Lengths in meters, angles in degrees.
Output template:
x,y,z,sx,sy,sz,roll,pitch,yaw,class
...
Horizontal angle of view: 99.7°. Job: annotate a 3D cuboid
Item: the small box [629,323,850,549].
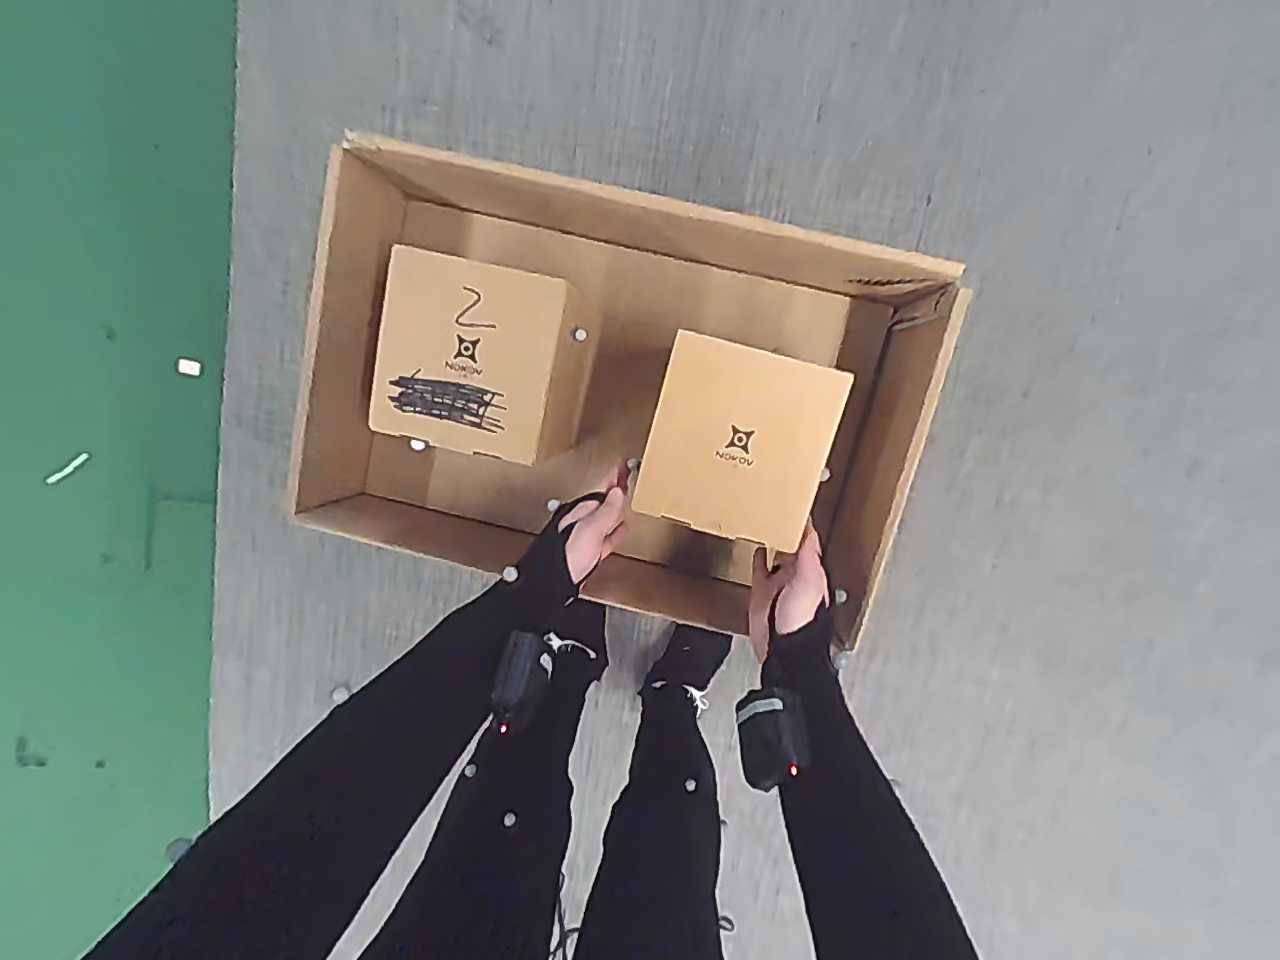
x,y,z,sx,sy,sz,roll,pitch,yaw,class
0.093,-0.051,0.574,0.168,0.176,0.179,15,101,1,small box
